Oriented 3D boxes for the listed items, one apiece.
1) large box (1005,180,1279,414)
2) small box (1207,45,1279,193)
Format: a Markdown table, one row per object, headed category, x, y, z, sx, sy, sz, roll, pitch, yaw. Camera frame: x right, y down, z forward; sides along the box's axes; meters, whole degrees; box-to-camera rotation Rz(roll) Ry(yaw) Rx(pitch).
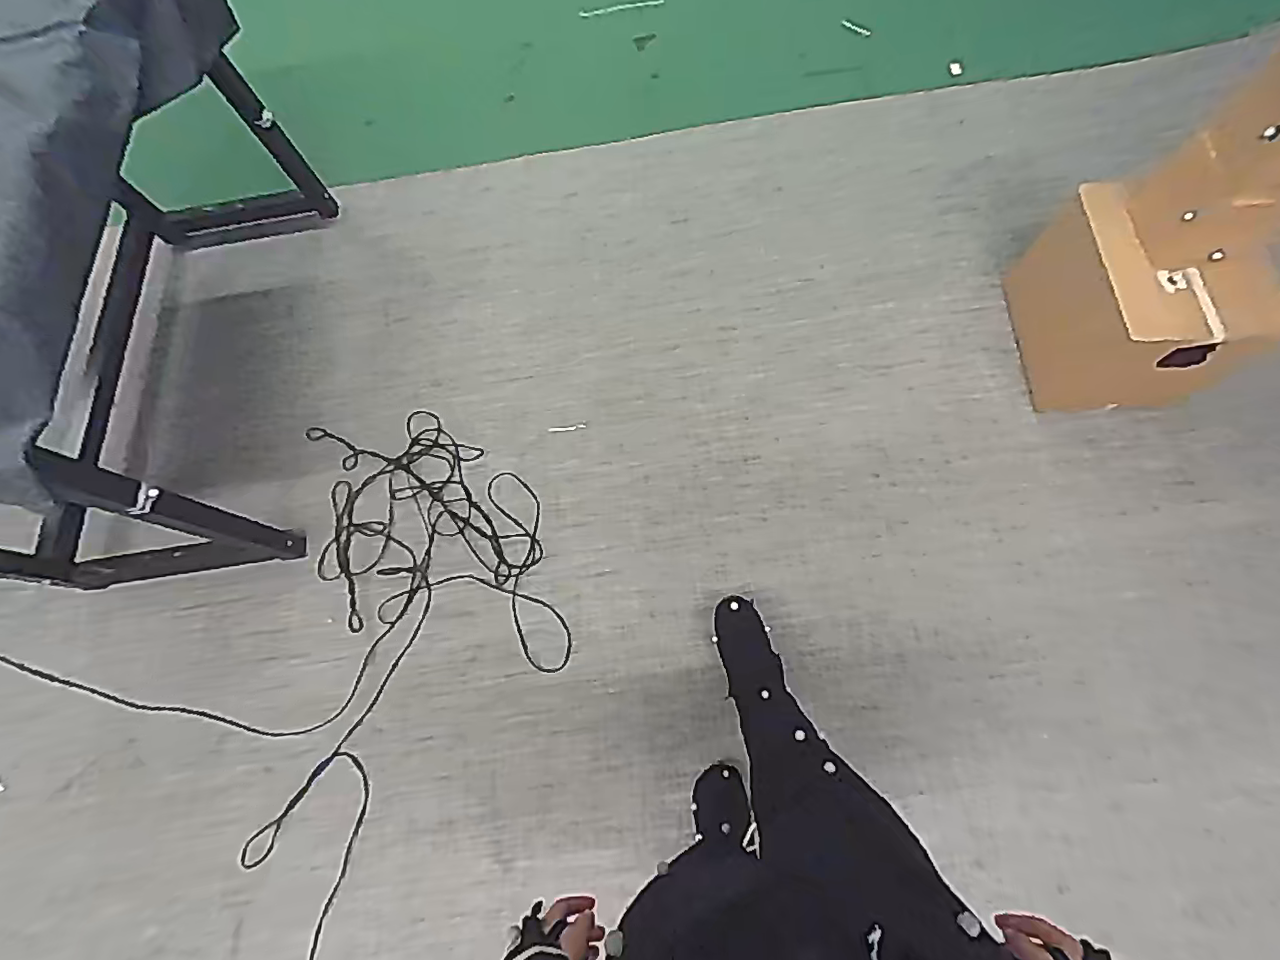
| category | x | y | z | sx | sy | sz | roll | pitch | yaw |
| --- | --- | --- | --- | --- | --- | --- | --- | --- | --- |
| large box | 1.118 | -0.401 | 1.239 | 0.320 | 0.320 | 0.408 | -3 | 71 | 6 |
| small box | 1.095 | -0.589 | 0.874 | 0.168 | 0.176 | 0.179 | 3 | 70 | 5 |
